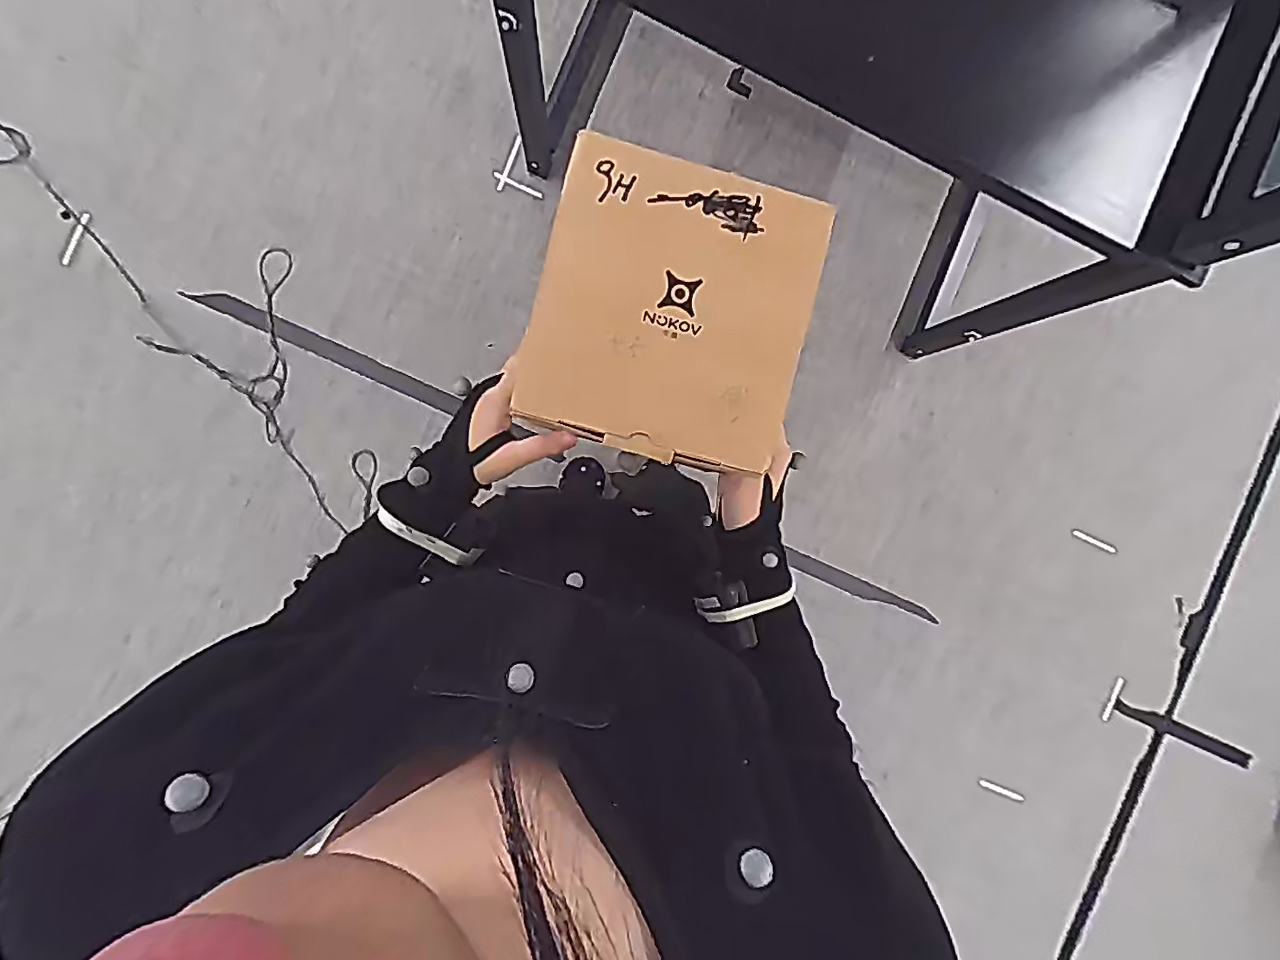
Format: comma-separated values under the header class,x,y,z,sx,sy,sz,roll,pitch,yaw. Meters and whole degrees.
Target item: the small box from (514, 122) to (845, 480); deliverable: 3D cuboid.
class,x,y,z,sx,sy,sz,roll,pitch,yaw
small box,0.018,-0.108,0.401,0.168,0.176,0.179,15,92,-6
